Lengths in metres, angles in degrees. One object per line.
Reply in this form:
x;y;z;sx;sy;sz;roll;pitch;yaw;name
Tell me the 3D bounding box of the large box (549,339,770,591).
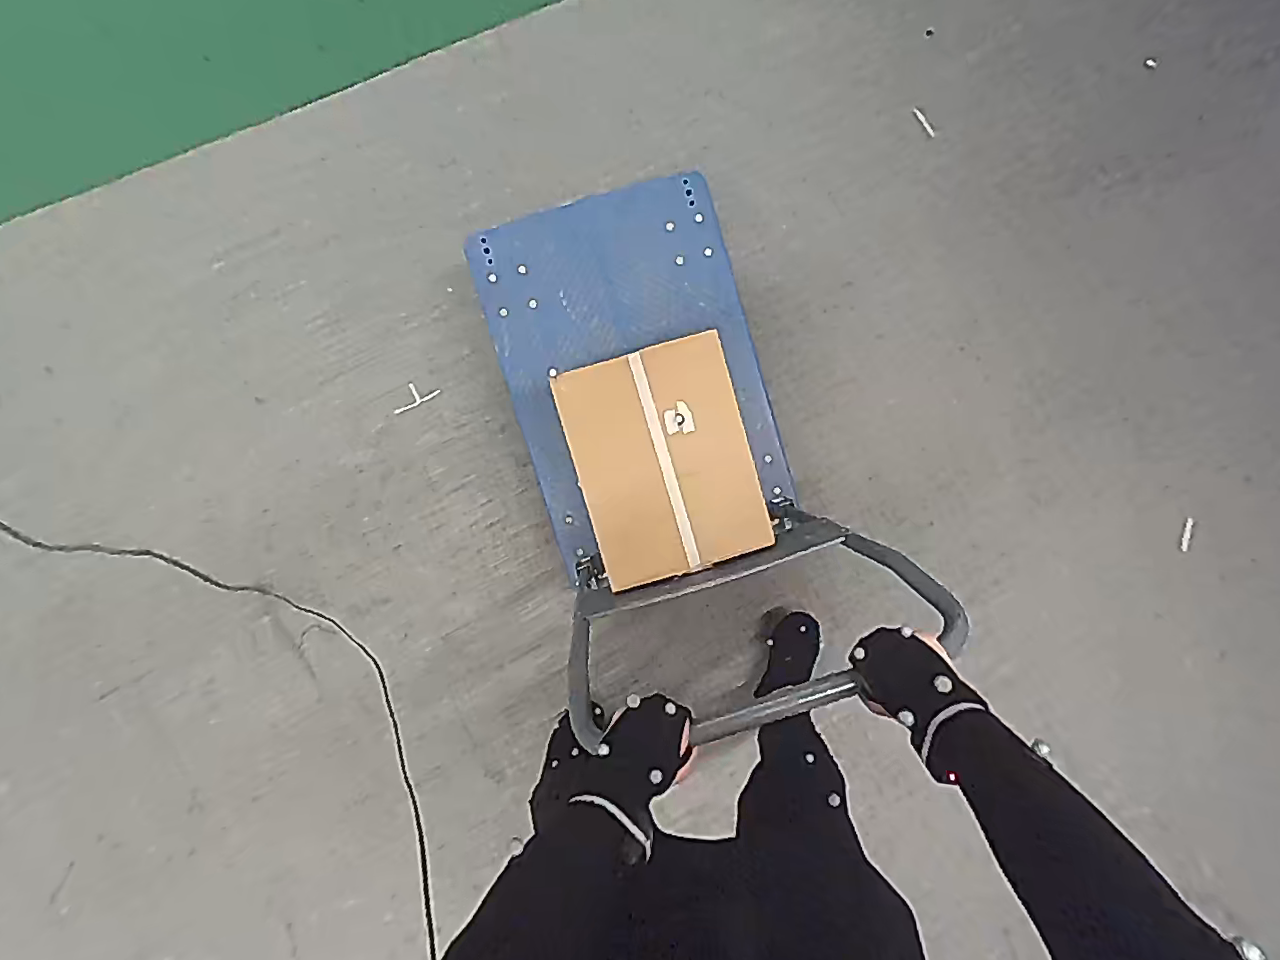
0.036;-0.030;1.141;0.320;0.320;0.408;-17;92;-2;large box
